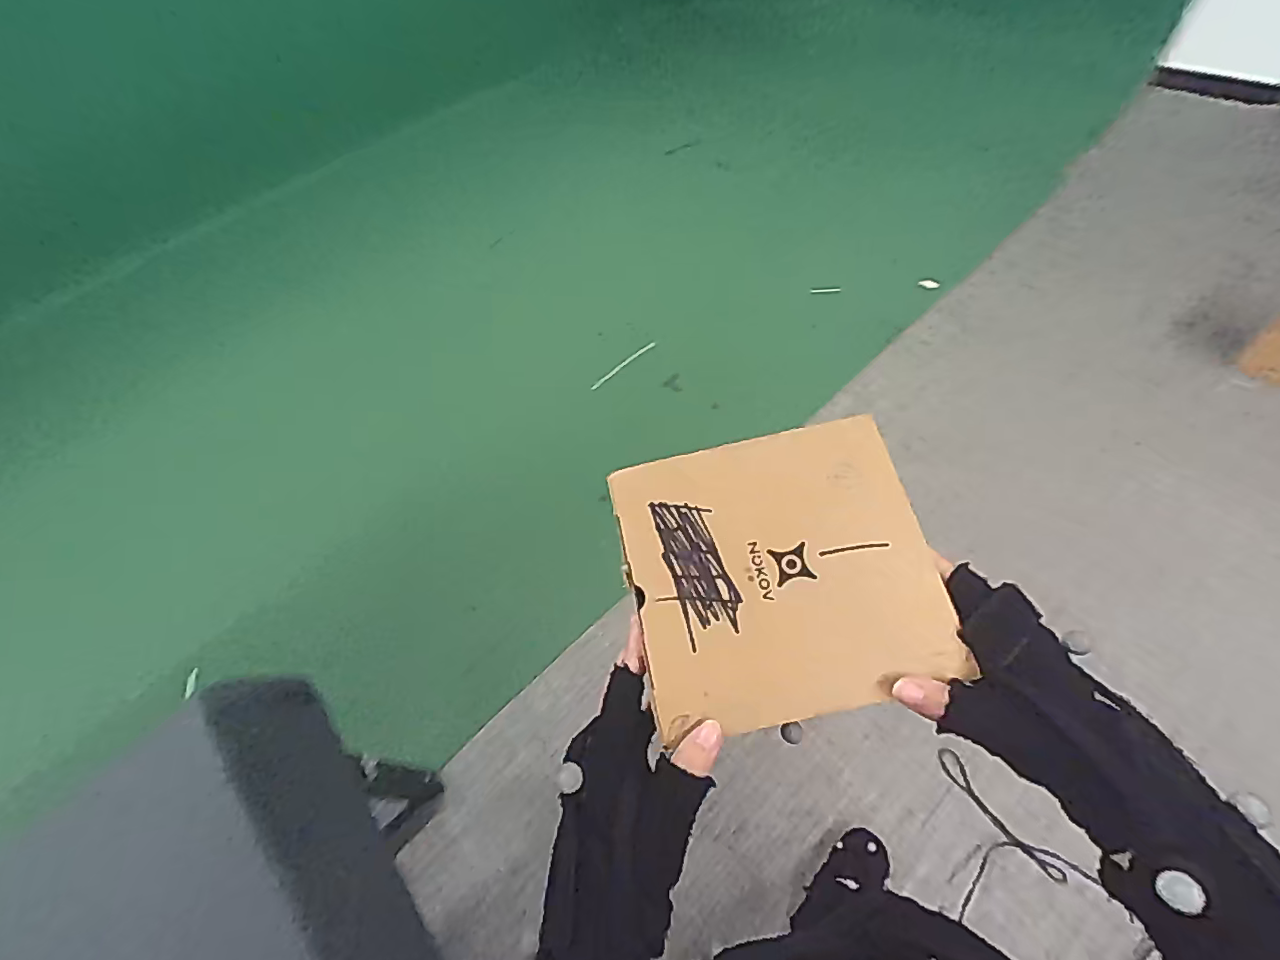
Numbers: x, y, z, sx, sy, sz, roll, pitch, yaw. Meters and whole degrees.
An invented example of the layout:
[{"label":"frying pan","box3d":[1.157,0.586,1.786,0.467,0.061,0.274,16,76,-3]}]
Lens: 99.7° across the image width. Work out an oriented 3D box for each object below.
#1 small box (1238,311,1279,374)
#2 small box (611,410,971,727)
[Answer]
[{"label":"small box","box3d":[1.899,-0.411,1.538,0.168,0.176,0.179,-39,59,-15]},{"label":"small box","box3d":[0.087,0.075,0.391,0.179,0.176,0.168,-12,68,2]}]
